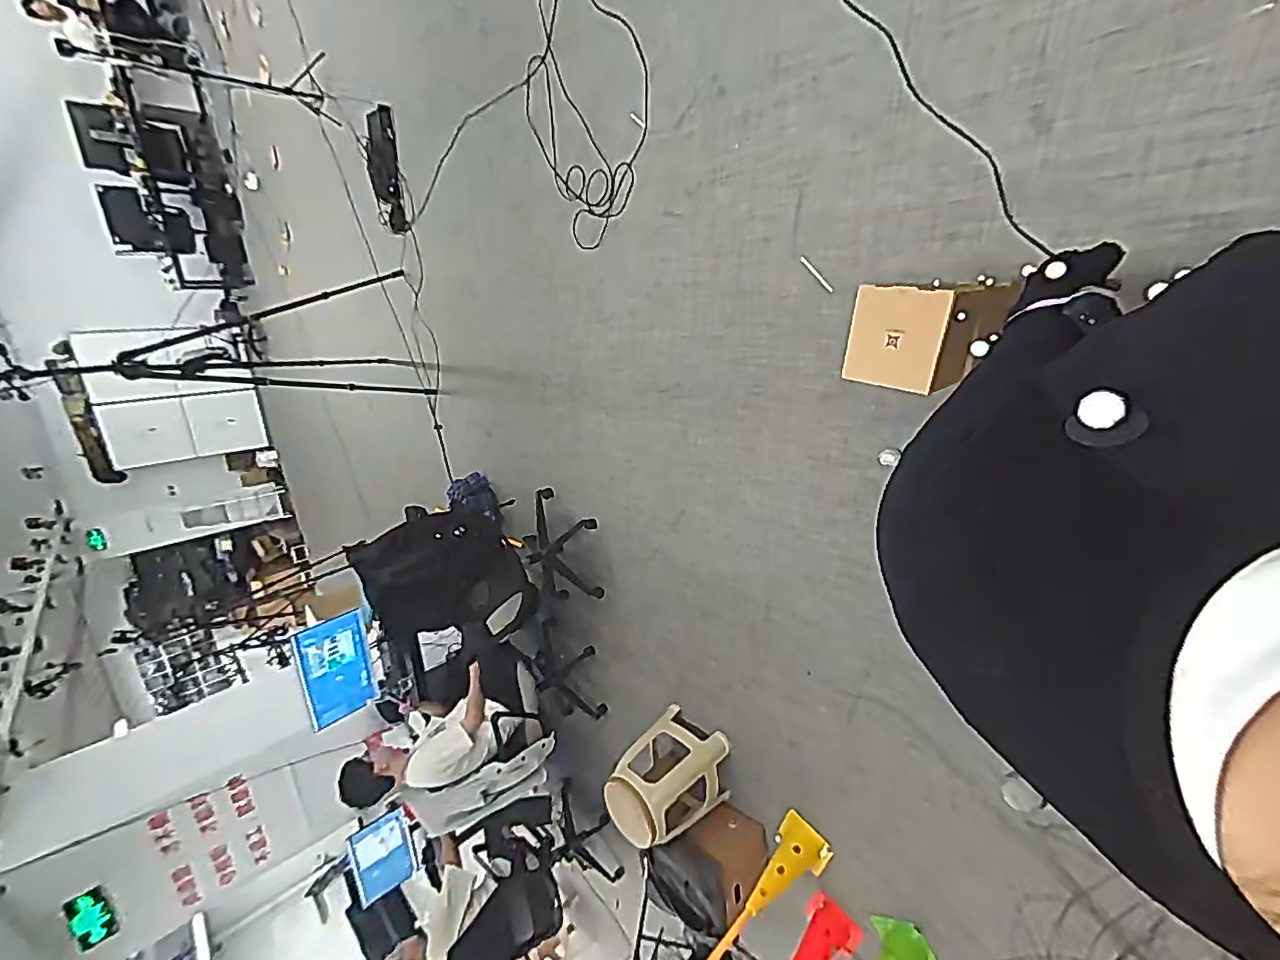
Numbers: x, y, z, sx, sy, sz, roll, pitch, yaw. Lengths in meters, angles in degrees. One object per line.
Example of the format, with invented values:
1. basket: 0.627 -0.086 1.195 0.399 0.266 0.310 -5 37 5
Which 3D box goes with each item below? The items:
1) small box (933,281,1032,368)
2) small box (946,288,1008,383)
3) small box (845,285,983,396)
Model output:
1. small box: 0.764 -0.350 1.229 0.168 0.176 0.179 16 114 47
2. small box: 0.641 -0.307 1.125 0.168 0.176 0.179 18 118 43
3. small box: 0.519 -0.271 1.024 0.168 0.176 0.179 24 120 41
